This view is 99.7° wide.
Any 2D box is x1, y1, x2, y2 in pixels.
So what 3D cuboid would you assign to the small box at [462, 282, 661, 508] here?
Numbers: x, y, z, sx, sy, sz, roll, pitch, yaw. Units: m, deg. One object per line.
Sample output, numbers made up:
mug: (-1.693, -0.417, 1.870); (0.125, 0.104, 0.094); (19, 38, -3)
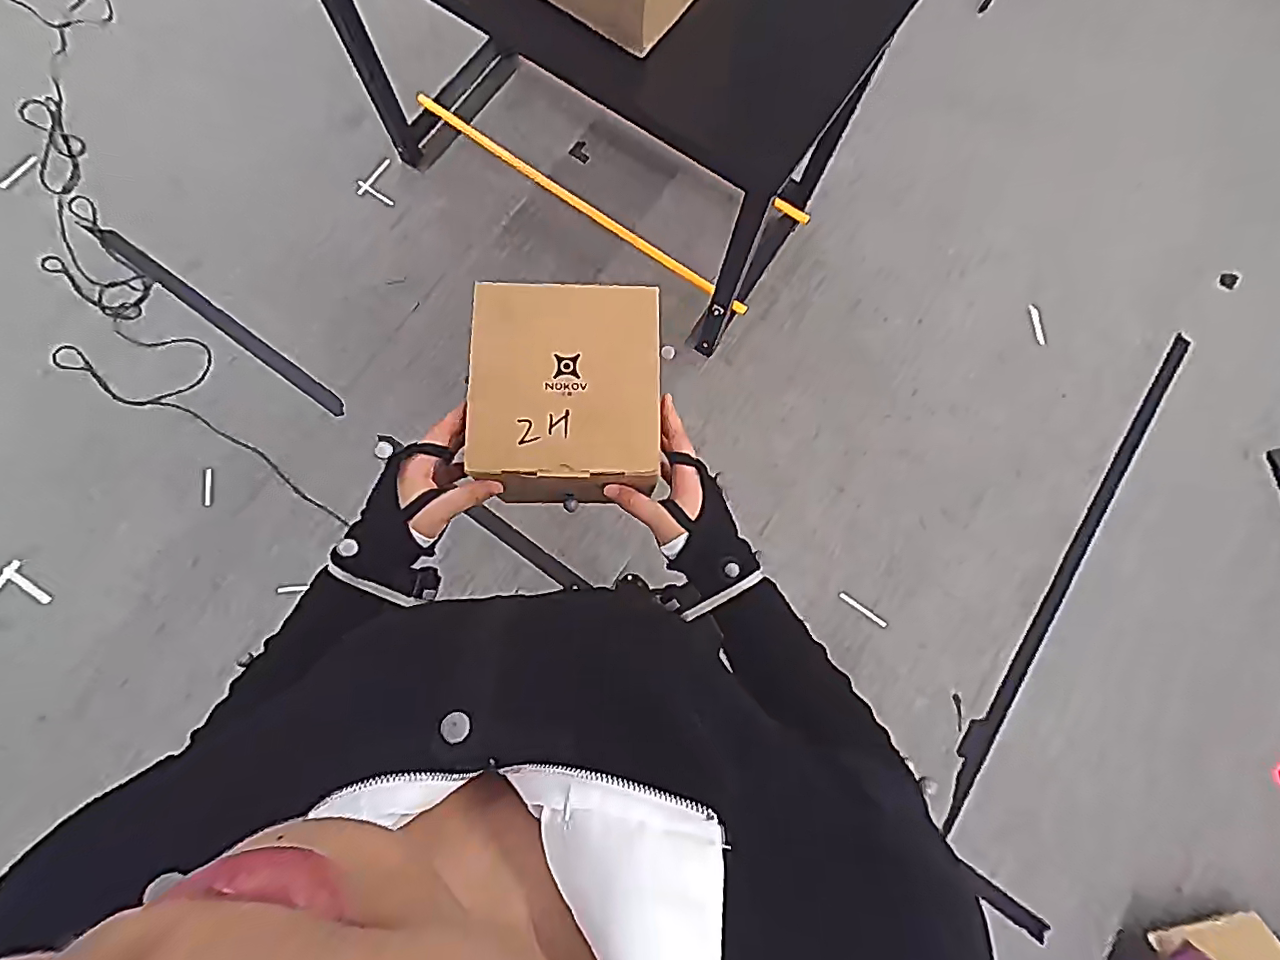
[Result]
small box: (-0.068, -0.072, 0.541); (0.168, 0.176, 0.179); (1, 78, -3)
